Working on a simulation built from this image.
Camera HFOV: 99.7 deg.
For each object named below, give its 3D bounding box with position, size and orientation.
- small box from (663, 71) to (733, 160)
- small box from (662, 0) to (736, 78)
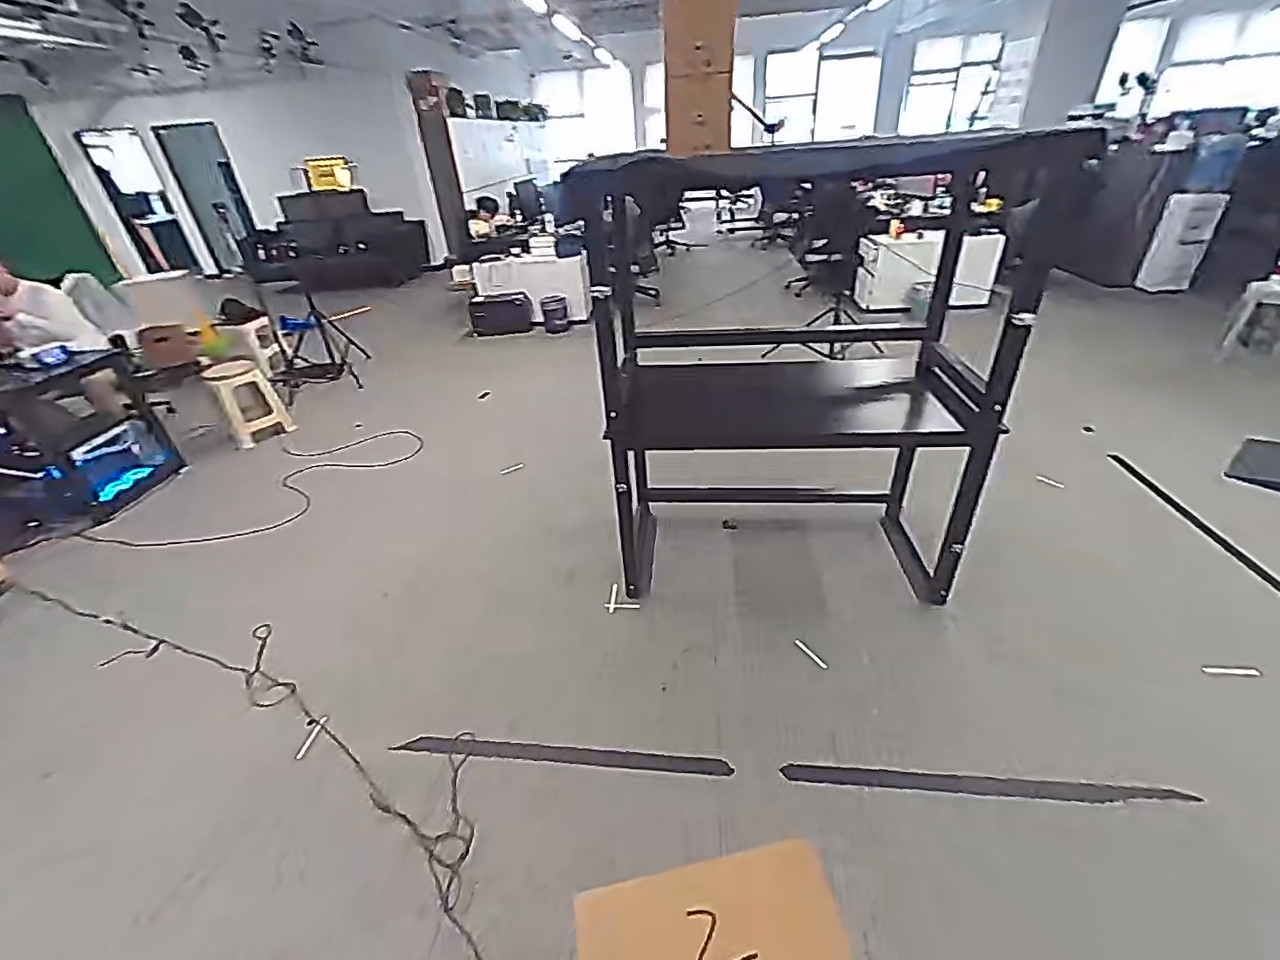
[{"bbox_3d":[0.144,-0.914,1.367,0.168,0.176,0.179,-2,32,3],"label":"small box"},{"bbox_3d":[0.136,-1.056,1.283,0.168,0.176,0.179,-3,31,4],"label":"small box"}]
